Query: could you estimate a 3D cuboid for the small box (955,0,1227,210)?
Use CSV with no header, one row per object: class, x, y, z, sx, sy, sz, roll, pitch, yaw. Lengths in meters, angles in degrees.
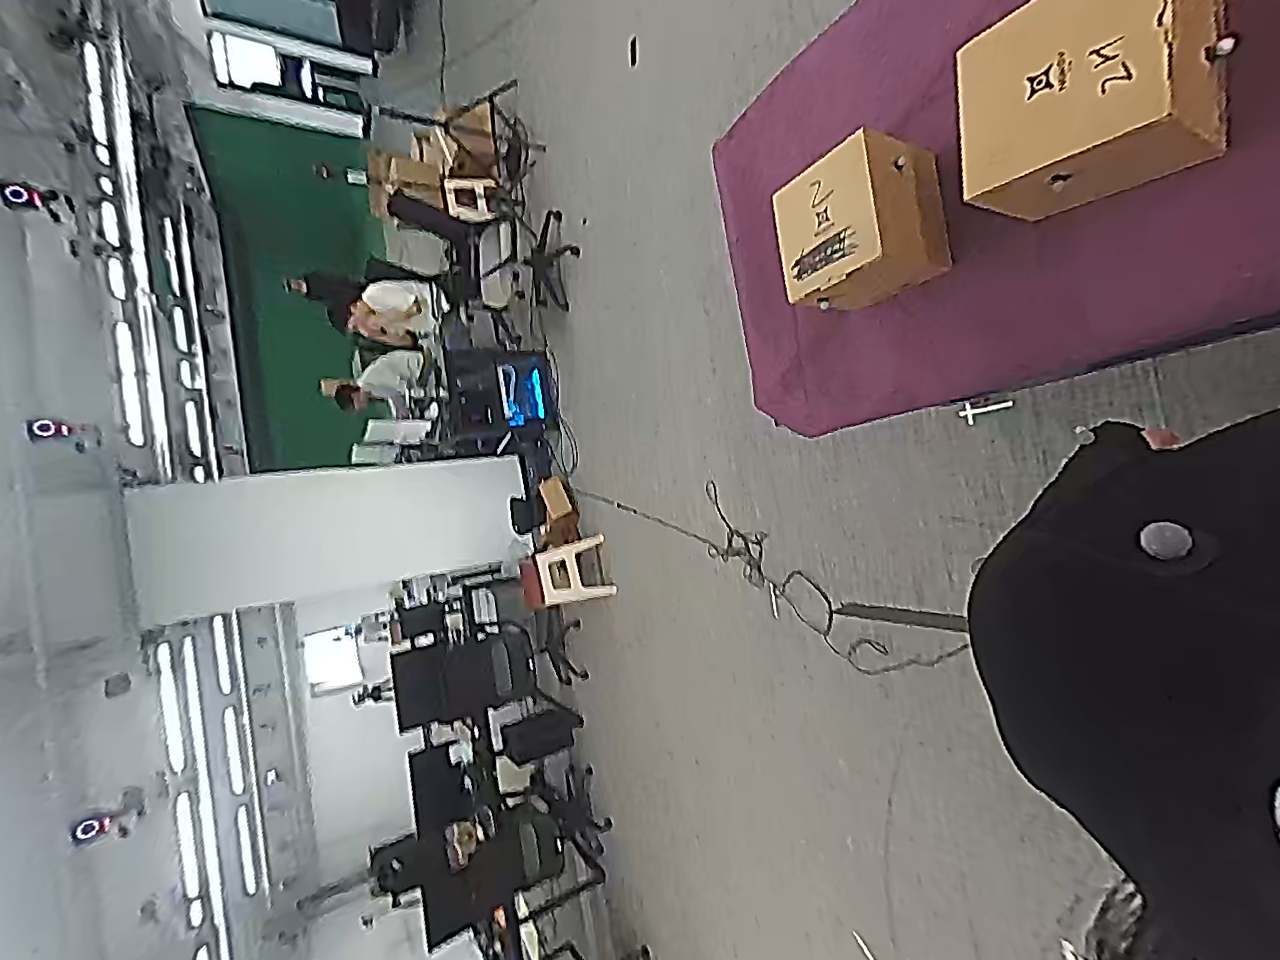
small box,0.466,-0.406,0.567,0.179,0.176,0.168,1,98,58
